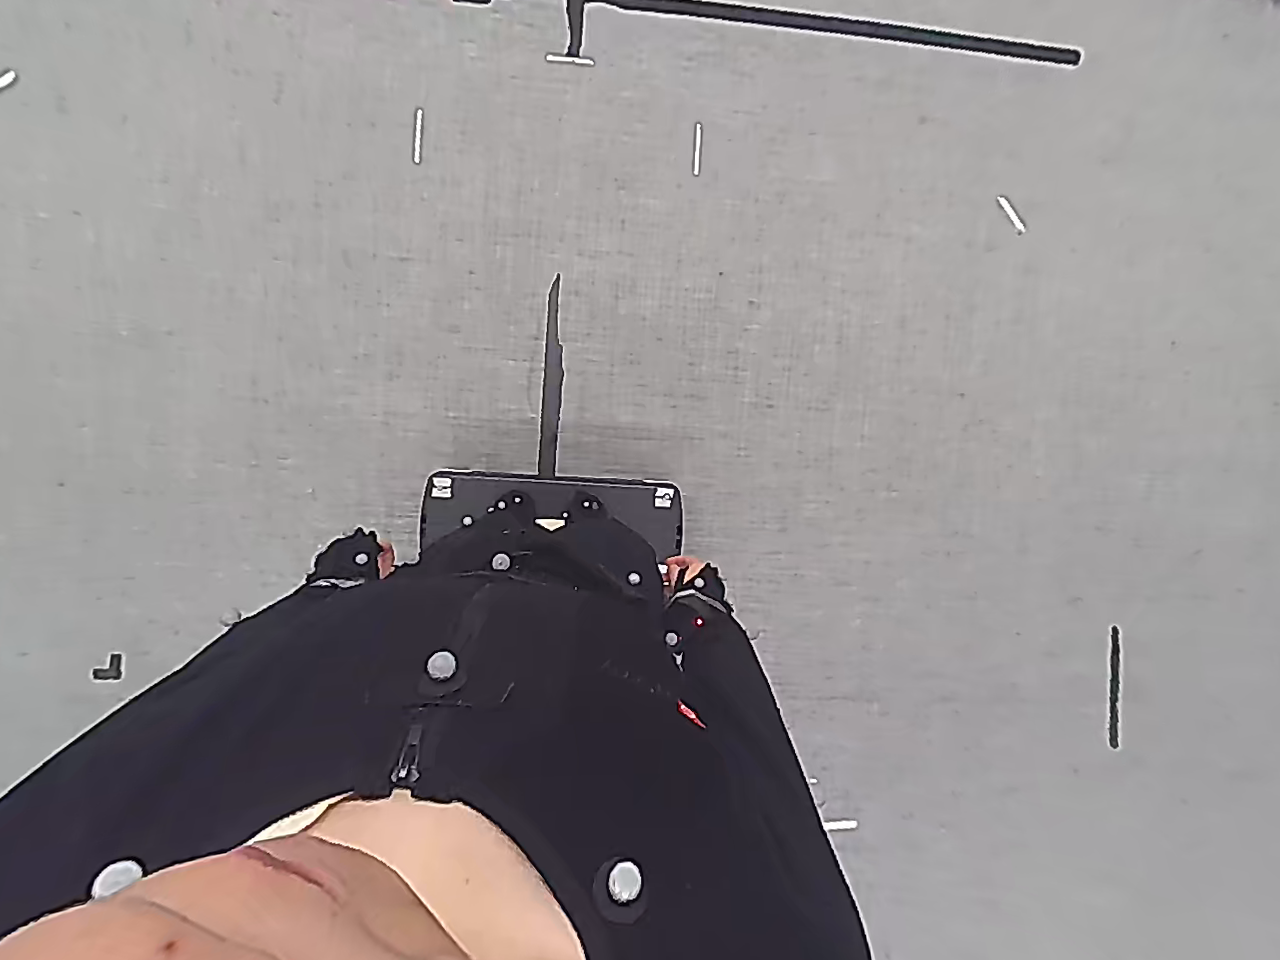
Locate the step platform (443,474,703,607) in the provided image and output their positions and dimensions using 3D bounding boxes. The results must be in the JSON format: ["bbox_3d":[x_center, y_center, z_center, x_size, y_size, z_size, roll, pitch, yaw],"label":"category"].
[{"bbox_3d":[-0.174,0.162,1.470,0.684,0.204,0.286,7,88,-6],"label":"step platform"}]
